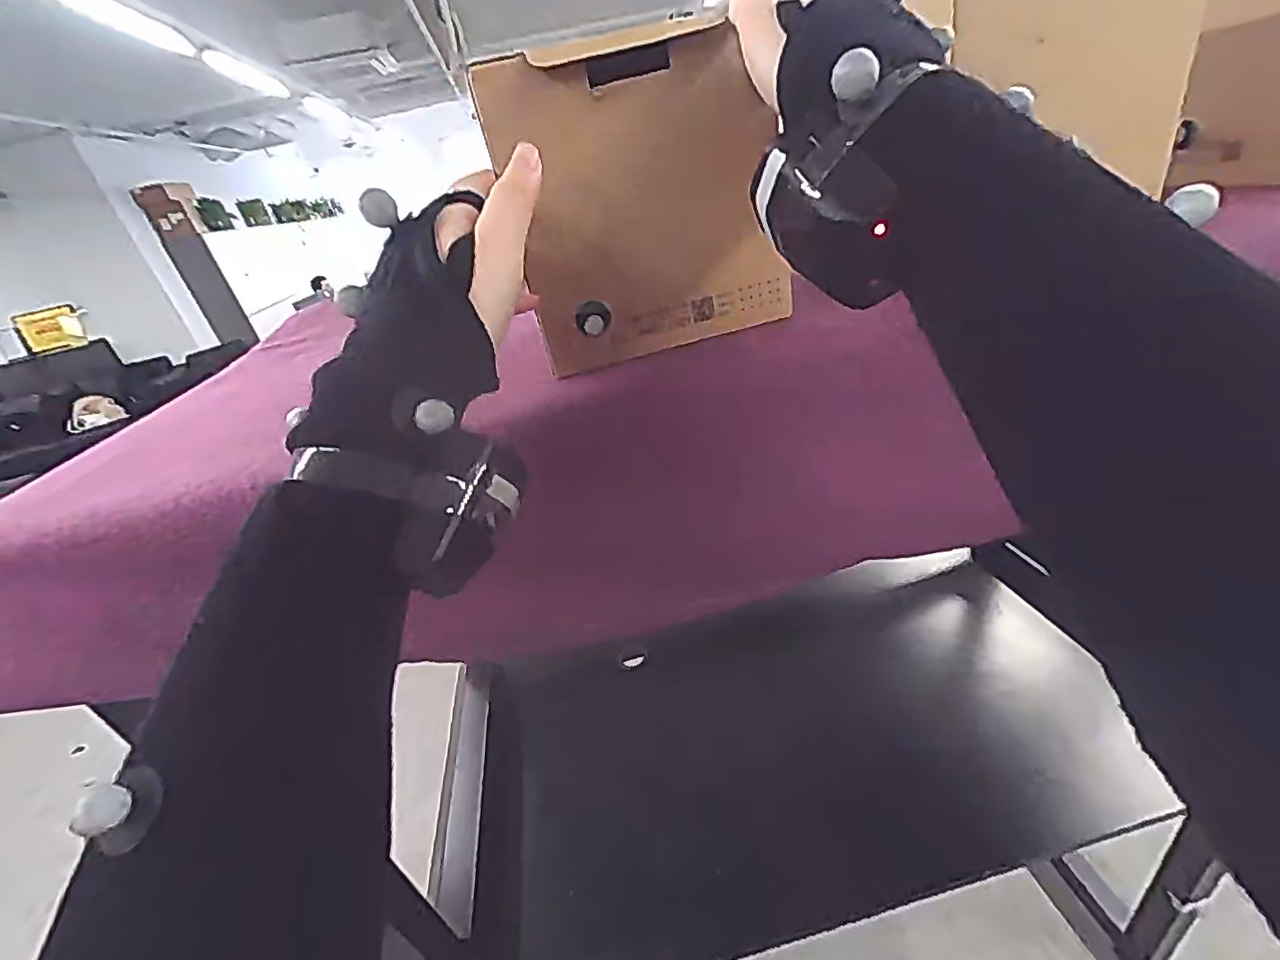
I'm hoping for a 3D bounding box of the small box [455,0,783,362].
[{"bbox_3d":[-0.013,-0.193,0.376,0.168,0.176,0.179,-16,28,-5],"label":"small box"}]
